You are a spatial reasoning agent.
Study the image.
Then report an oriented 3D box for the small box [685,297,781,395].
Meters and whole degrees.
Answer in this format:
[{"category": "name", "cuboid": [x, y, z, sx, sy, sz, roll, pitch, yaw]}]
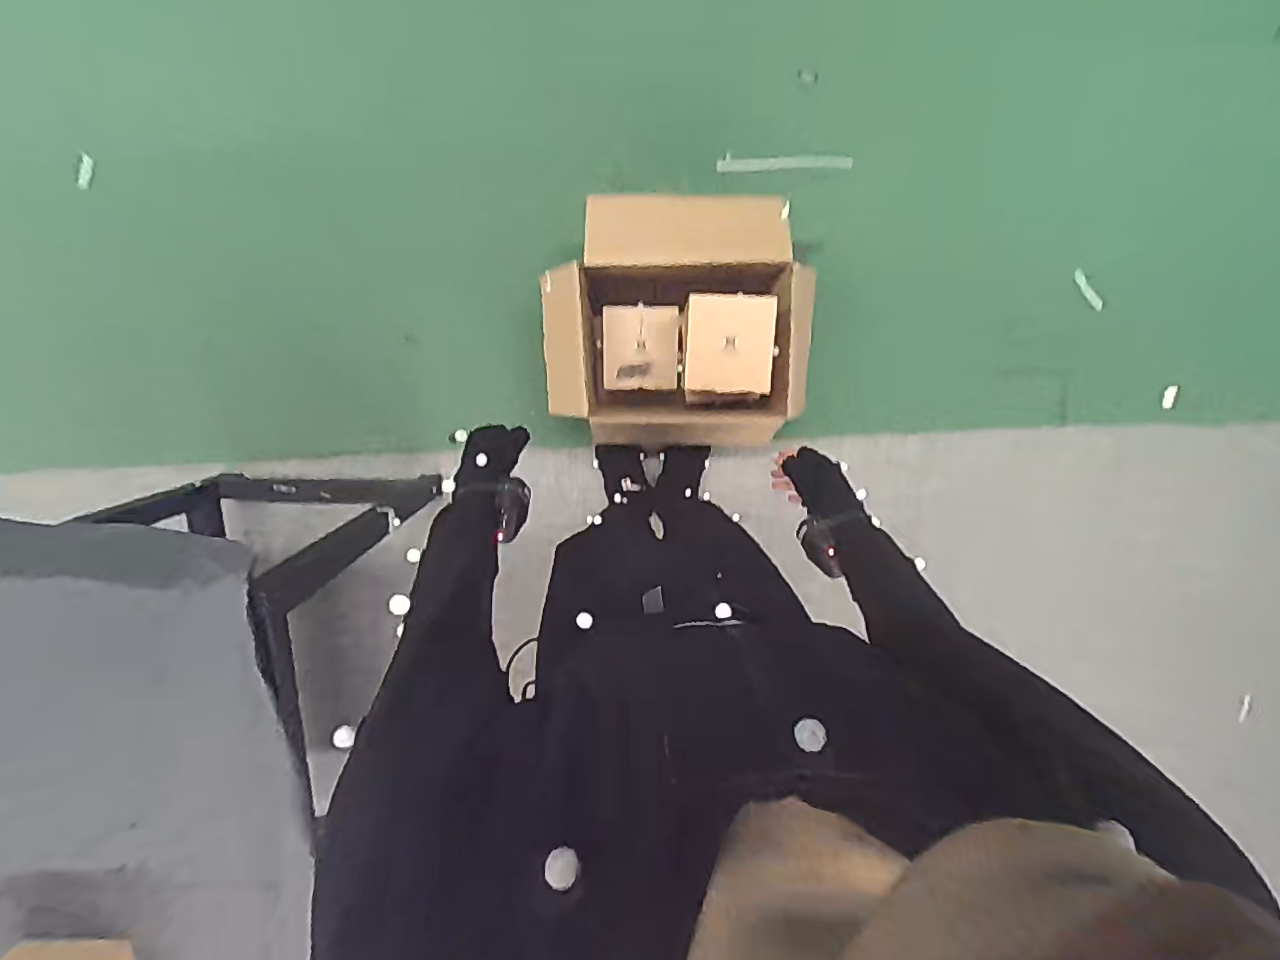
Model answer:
[{"category": "small box", "cuboid": [0.180, -0.265, 1.100, 0.168, 0.176, 0.179, 3, 100, 2]}]
